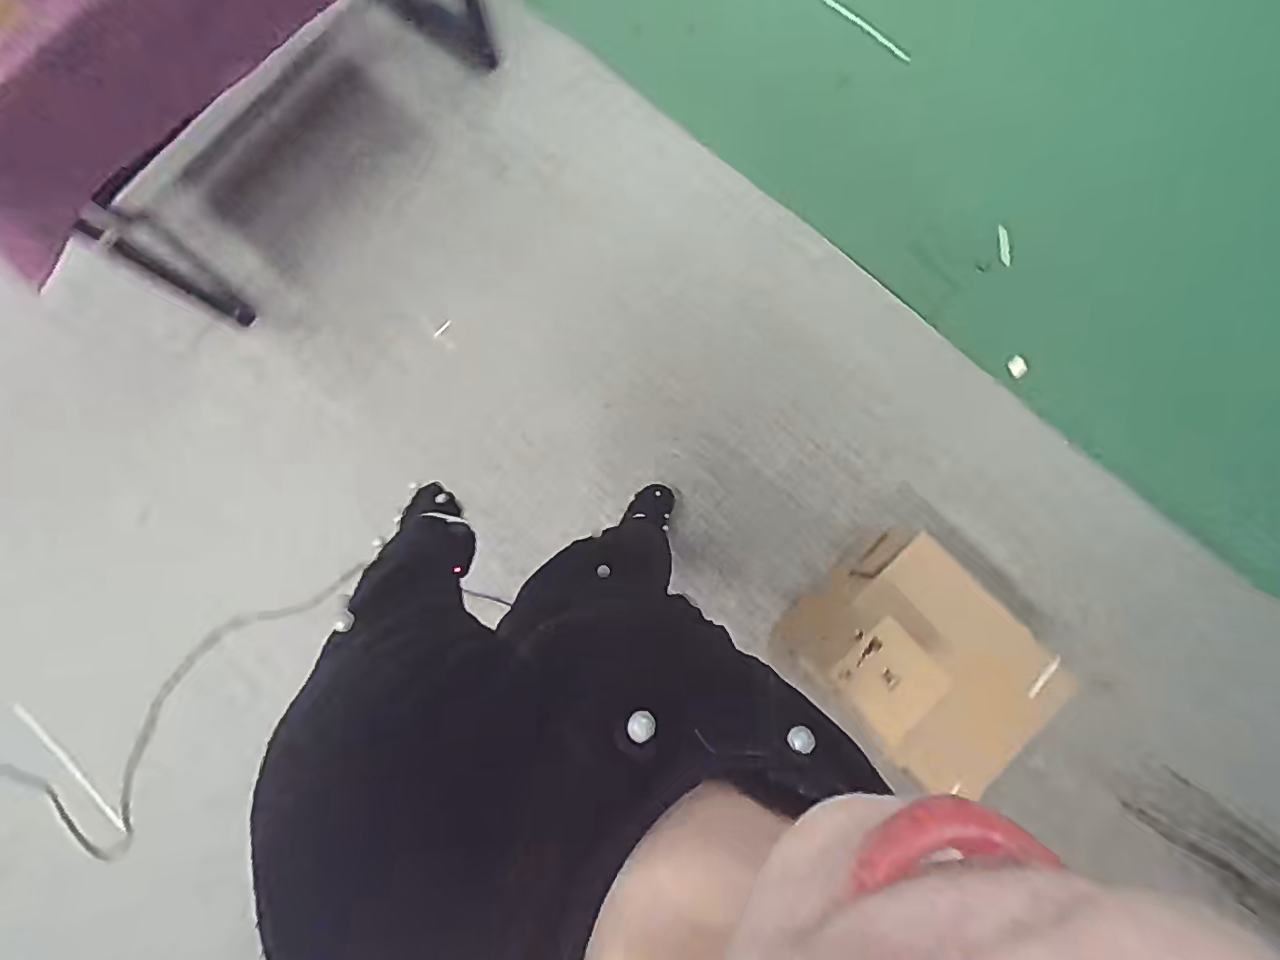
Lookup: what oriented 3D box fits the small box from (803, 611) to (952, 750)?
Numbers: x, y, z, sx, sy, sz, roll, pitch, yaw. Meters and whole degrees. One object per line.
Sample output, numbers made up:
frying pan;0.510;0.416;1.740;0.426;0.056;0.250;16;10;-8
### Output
small box;0.454;0.379;1.062;0.168;0.176;0.179;-41;84;-4
